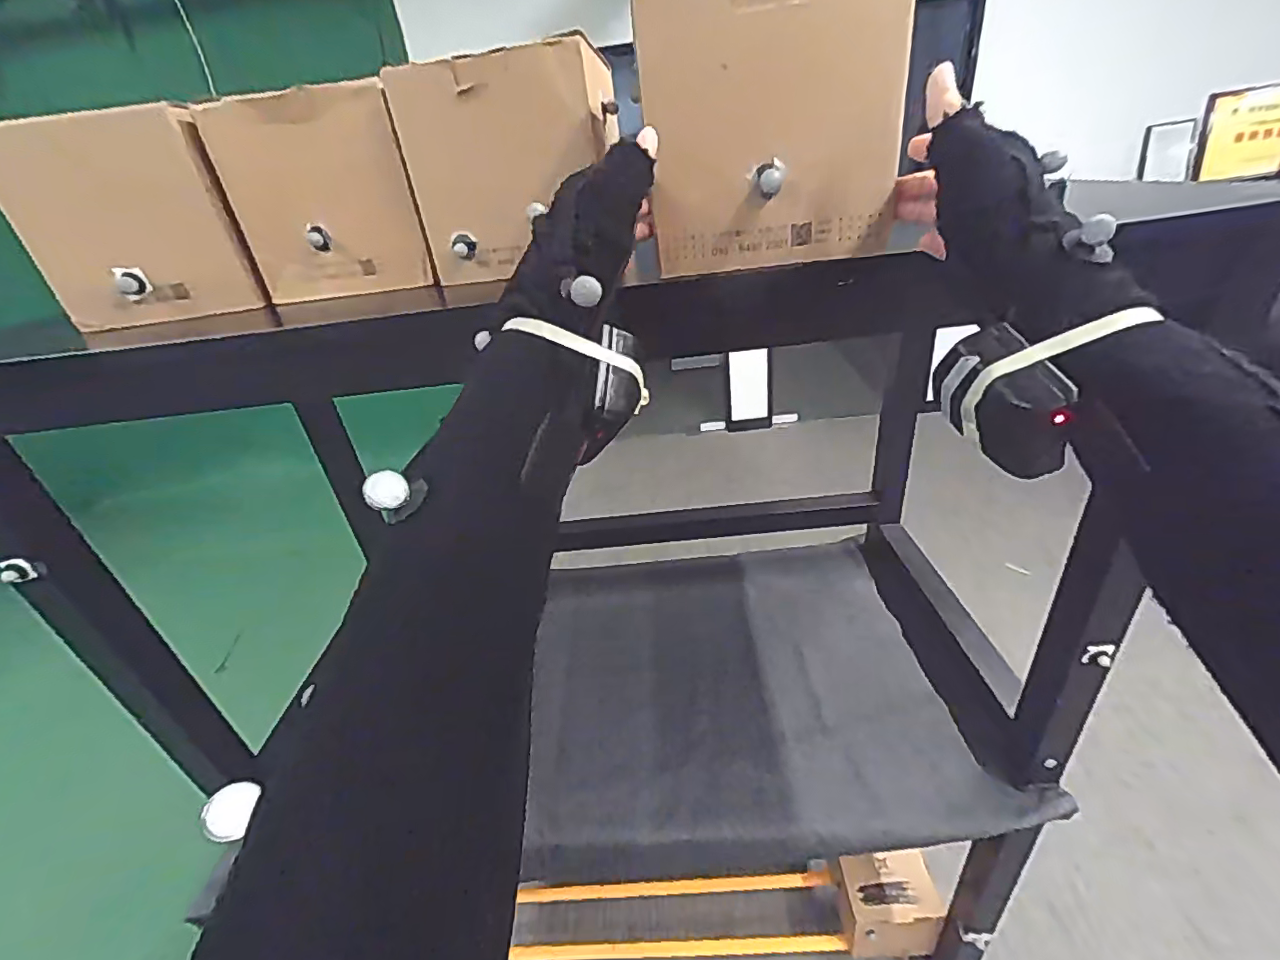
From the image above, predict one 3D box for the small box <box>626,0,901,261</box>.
[{"bbox_3d":[0.088,-0.276,0.426,0.168,0.176,0.179,-4,30,8],"label":"small box"}]
